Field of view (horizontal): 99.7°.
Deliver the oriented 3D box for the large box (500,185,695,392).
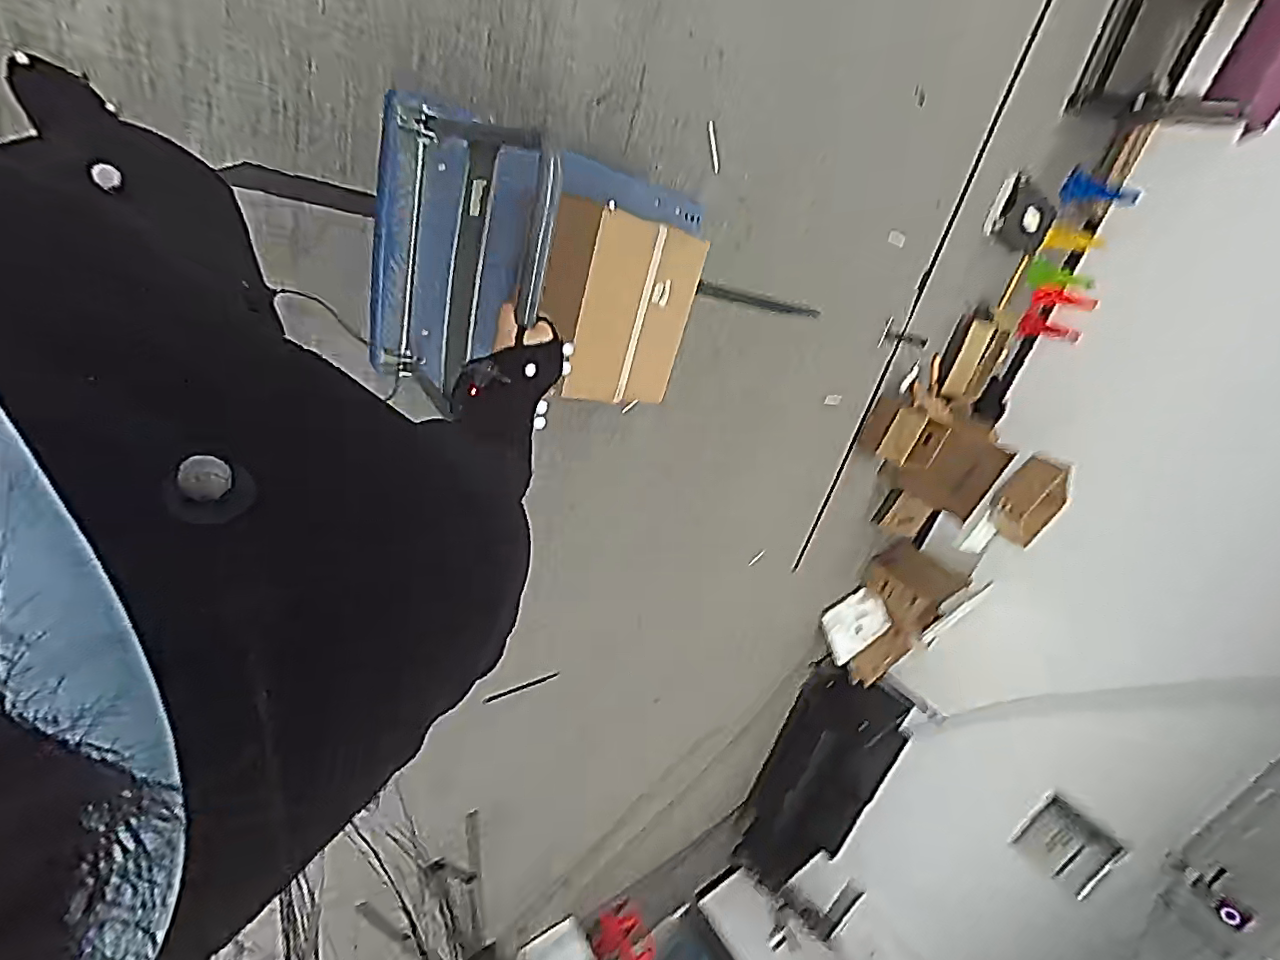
[{"bbox_3d":[-0.122,-0.460,1.339,0.320,0.320,0.408,-5,120,-41],"label":"large box"}]
